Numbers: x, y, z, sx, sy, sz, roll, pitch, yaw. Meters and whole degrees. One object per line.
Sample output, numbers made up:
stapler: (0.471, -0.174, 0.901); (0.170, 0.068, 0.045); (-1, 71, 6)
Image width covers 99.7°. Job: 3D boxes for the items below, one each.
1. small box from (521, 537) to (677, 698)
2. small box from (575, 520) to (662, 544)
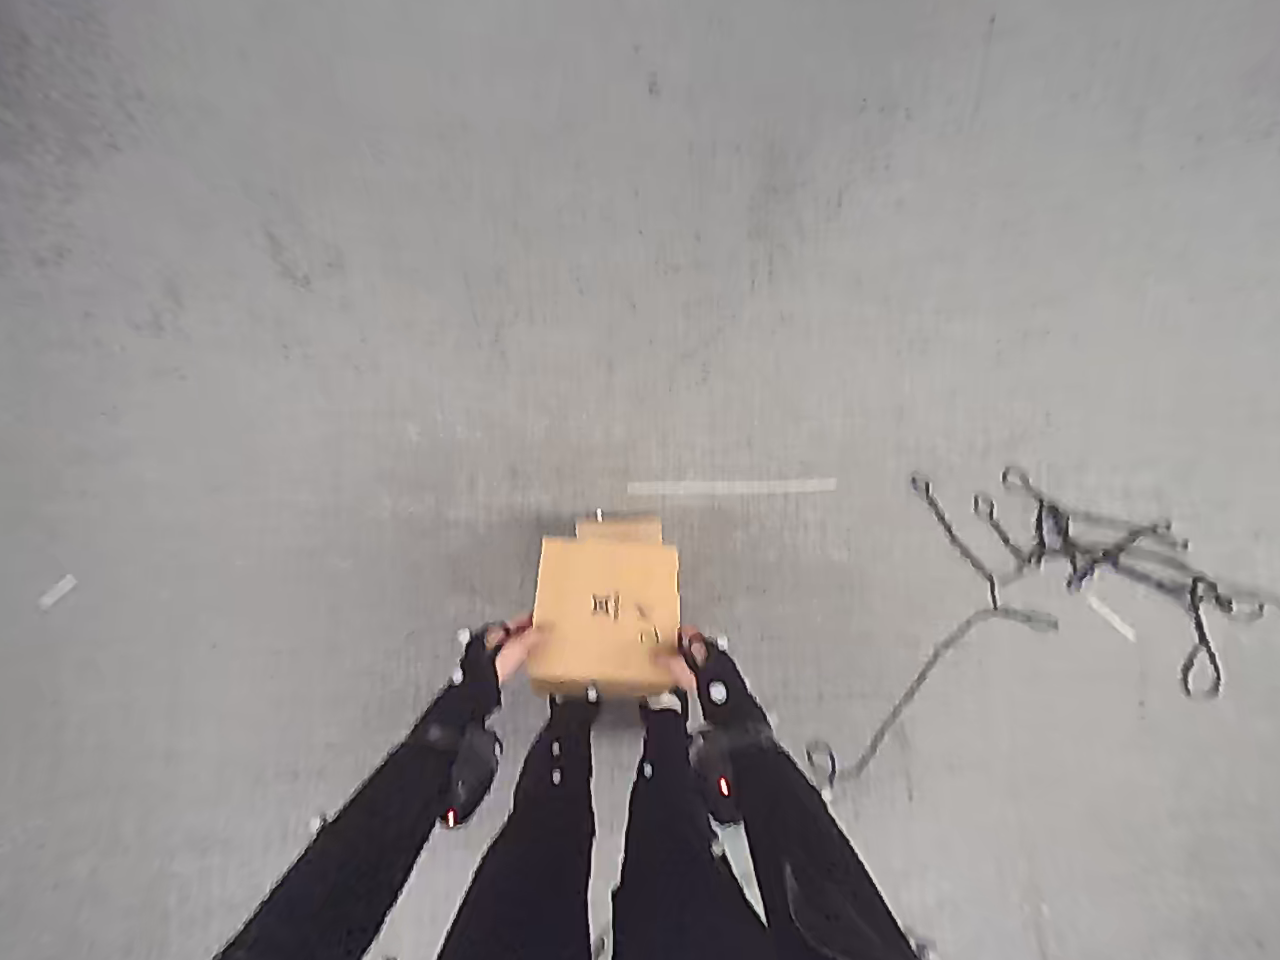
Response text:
small box: (-0.050, 0.186, 0.708); (0.179, 0.176, 0.168); (5, 61, -4)
small box: (-0.040, 0.172, 1.164); (0.179, 0.176, 0.168); (-2, 87, 0)
